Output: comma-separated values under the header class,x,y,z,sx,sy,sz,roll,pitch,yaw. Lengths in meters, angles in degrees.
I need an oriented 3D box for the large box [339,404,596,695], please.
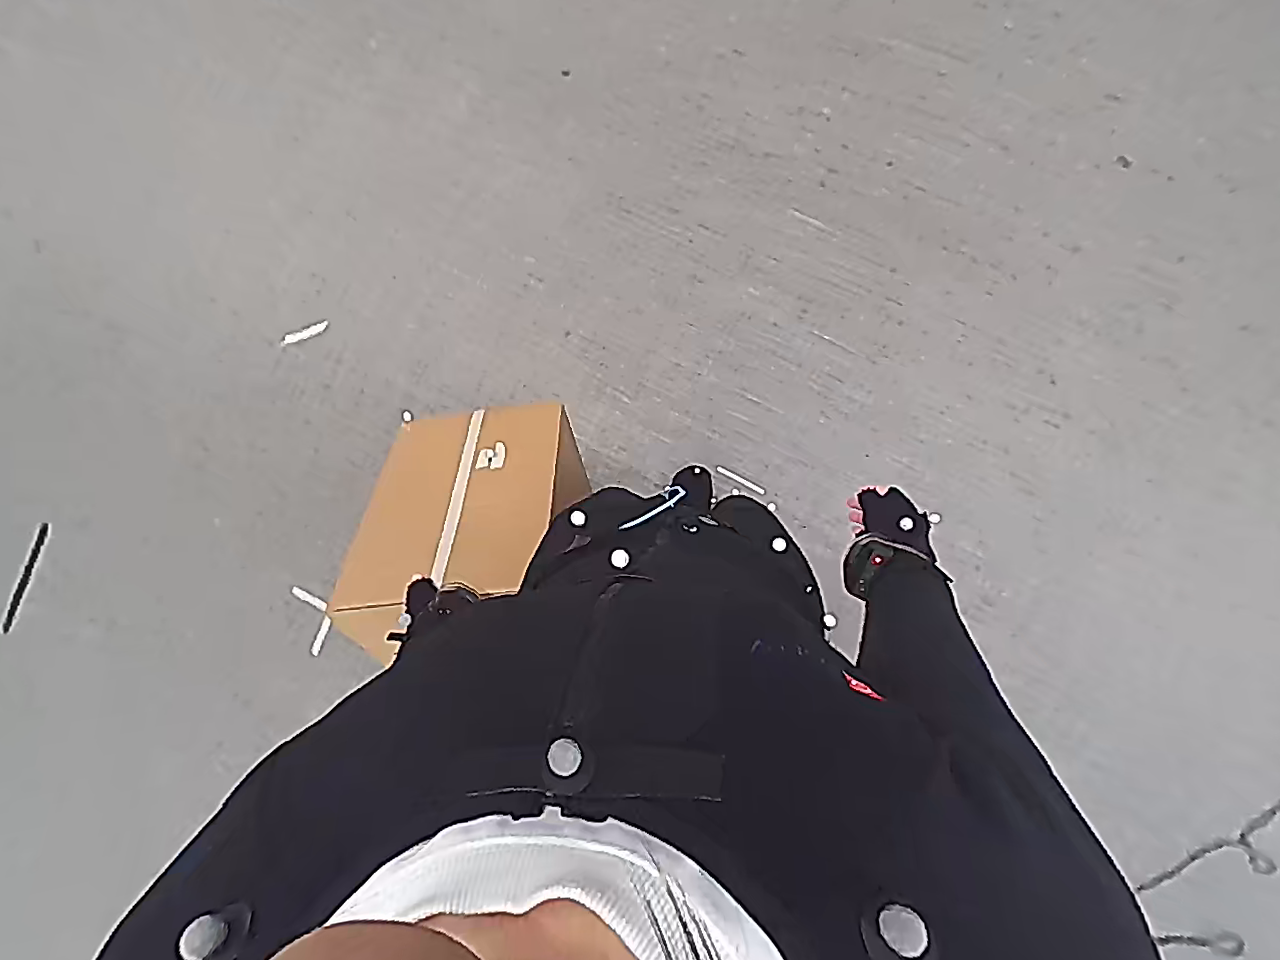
class,x,y,z,sx,sy,sz,roll,pitch,yaw
large box,-0.262,0.123,0.985,0.320,0.320,0.408,-7,47,4
